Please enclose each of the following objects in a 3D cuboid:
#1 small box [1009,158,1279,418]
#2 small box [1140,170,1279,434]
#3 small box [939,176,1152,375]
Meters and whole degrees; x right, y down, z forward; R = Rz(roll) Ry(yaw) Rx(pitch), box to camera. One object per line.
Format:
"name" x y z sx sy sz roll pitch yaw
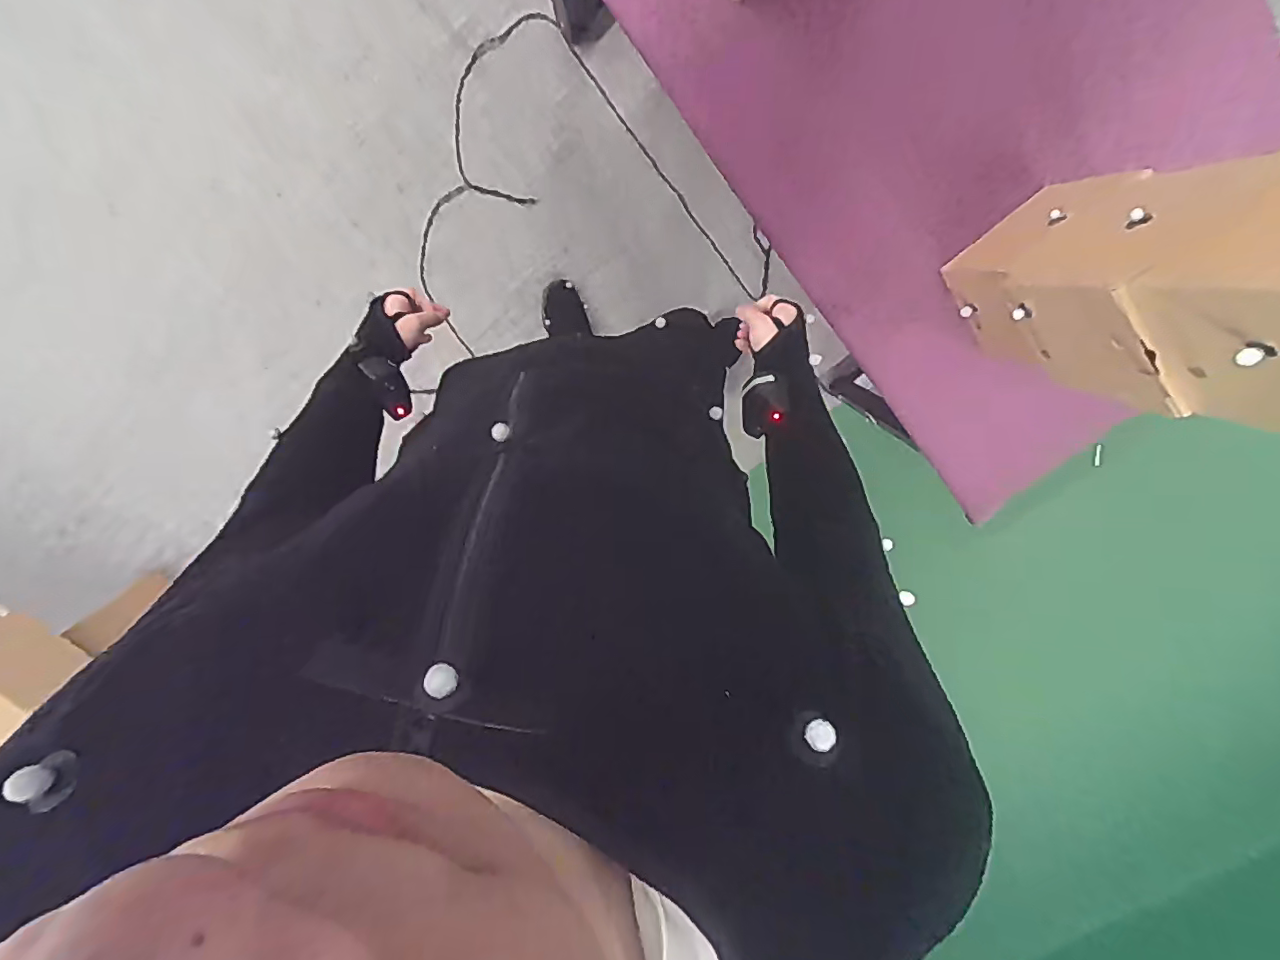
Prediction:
"small box" 0.542 -0.197 0.578 0.179 0.176 0.168 -40 107 12
"small box" 0.557 -0.143 0.425 0.179 0.176 0.168 -41 107 12
"small box" 0.552 -0.268 0.726 0.179 0.176 0.168 -37 108 12
